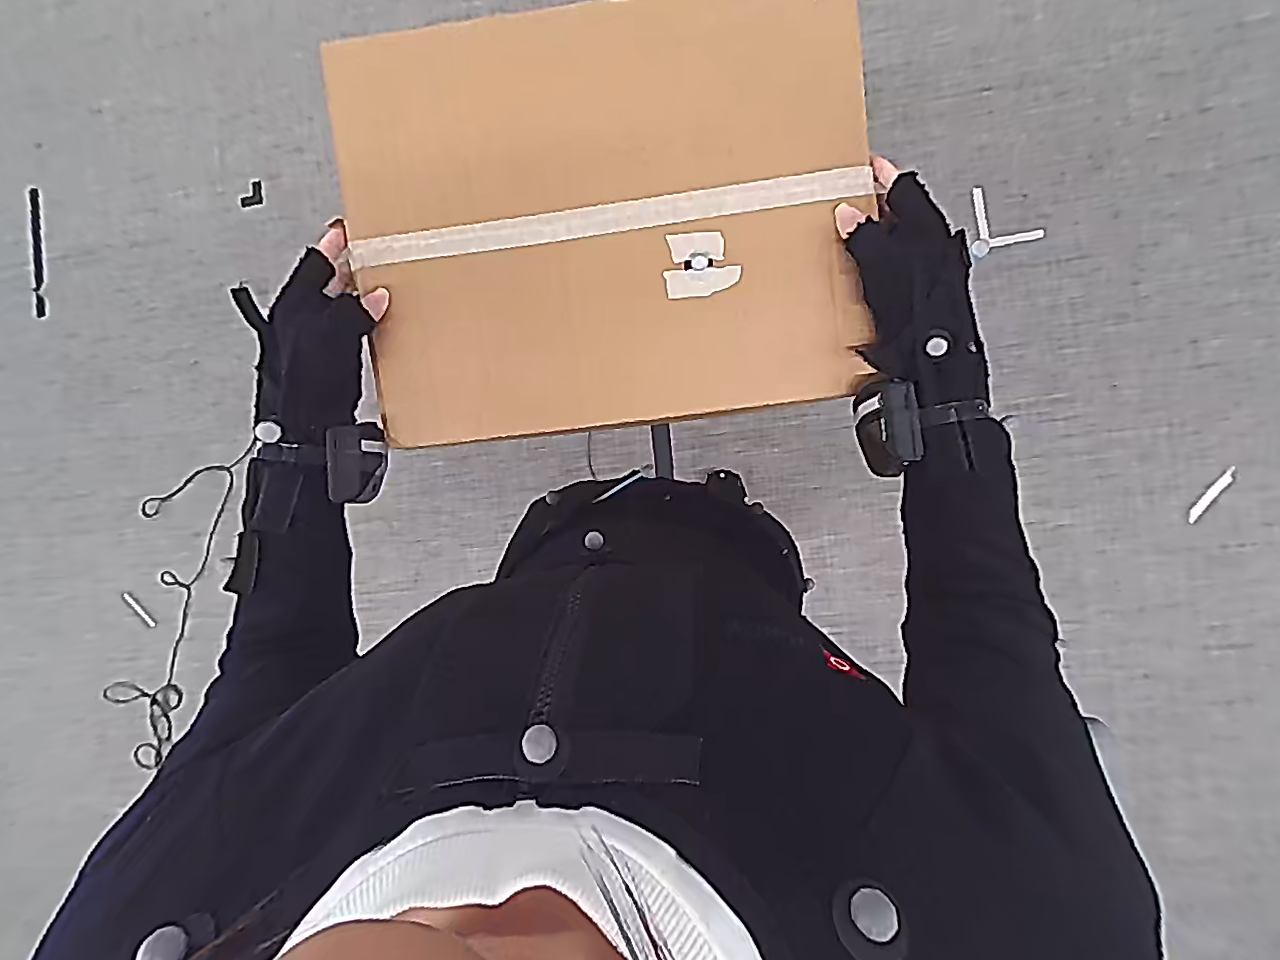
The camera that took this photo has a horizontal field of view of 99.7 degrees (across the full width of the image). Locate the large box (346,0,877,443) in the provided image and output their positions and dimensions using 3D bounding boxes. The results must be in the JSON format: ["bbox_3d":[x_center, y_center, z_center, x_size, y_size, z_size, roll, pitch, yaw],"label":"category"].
[{"bbox_3d":[-0.018,-0.221,0.583,0.408,0.320,0.320,-7,96,3],"label":"large box"}]
